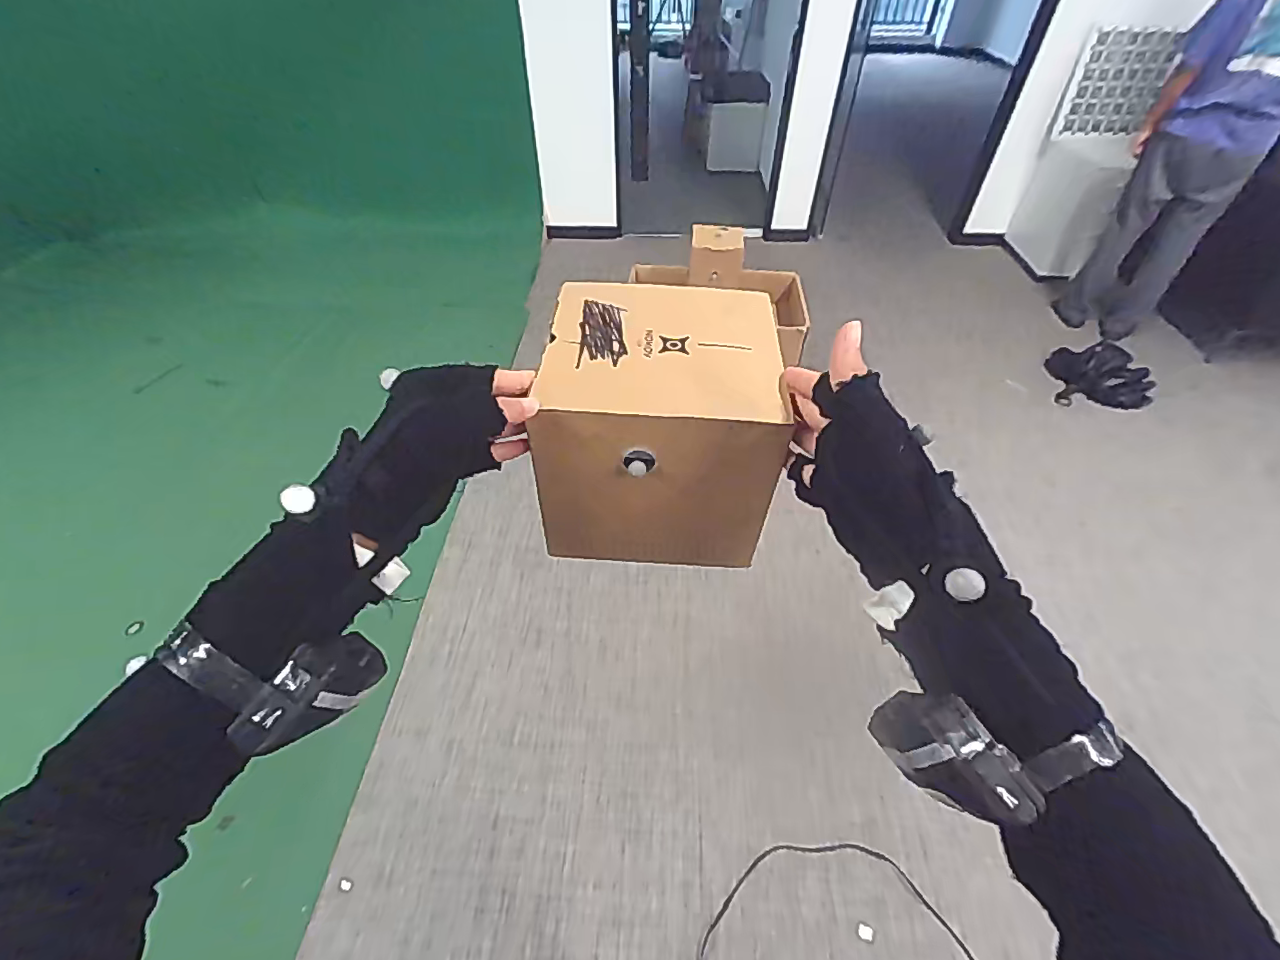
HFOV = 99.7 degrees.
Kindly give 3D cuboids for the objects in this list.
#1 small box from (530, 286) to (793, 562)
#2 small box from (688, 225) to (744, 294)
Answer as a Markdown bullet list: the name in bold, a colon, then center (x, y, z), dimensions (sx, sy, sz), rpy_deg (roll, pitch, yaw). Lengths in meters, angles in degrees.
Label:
- **small box**: center (0.017, -0.044, 0.461), dimensions (0.179, 0.176, 0.168), rpy_deg (4, 48, 1)
- **small box**: center (0.254, -0.732, 1.812), dimensions (0.168, 0.176, 0.179), rpy_deg (5, 47, 2)
